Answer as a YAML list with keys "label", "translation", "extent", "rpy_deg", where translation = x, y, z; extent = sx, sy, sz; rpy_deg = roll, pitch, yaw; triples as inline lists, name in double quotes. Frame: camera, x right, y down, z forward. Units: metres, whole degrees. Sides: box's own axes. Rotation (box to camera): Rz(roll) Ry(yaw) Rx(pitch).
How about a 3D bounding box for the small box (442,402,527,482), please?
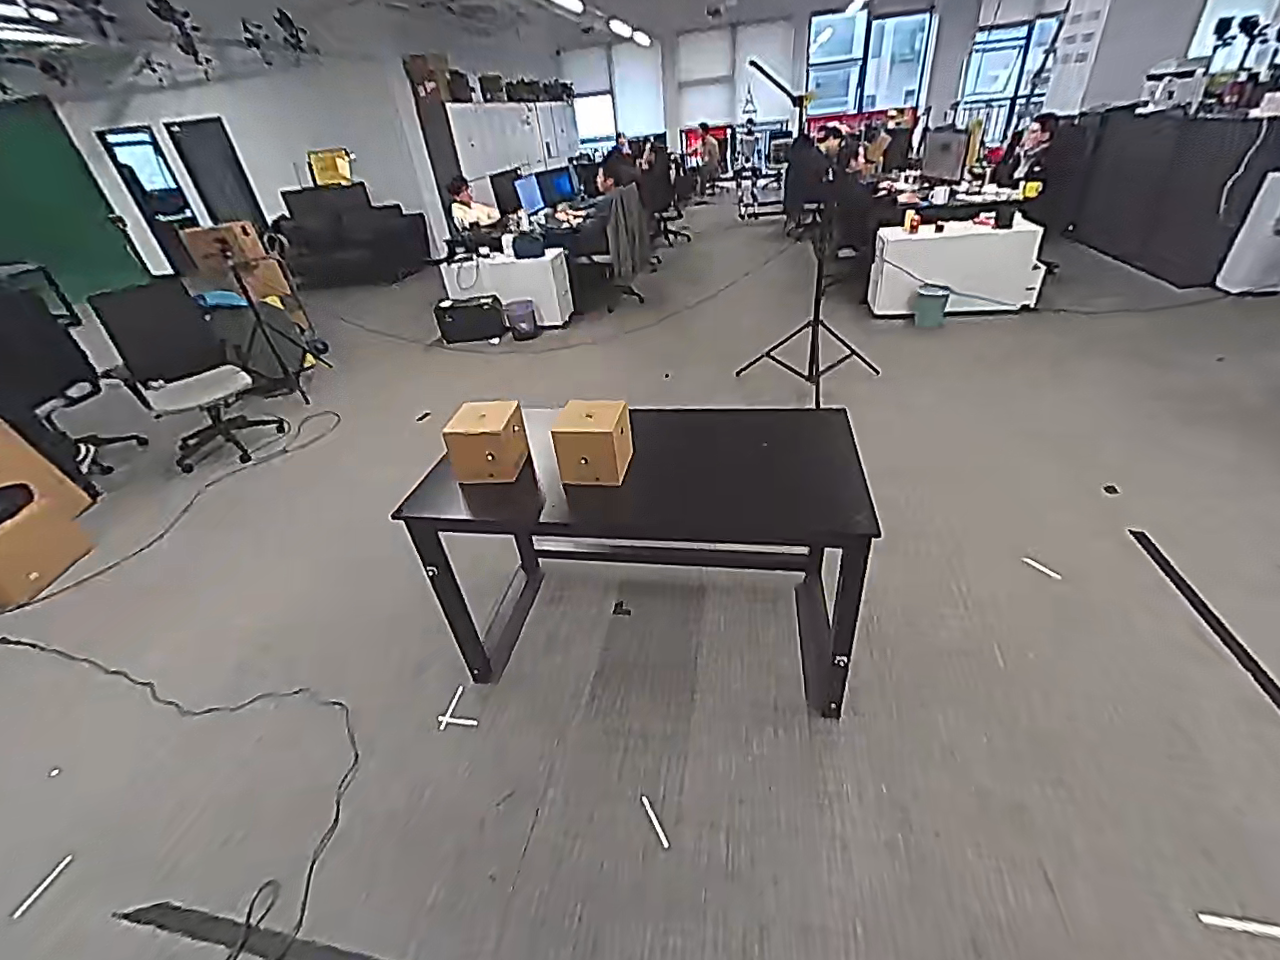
- label: "small box"
  translation: [-0.428, -0.105, 1.528]
  extent: [0.168, 0.176, 0.179]
  rpy_deg: [-1, 33, 6]

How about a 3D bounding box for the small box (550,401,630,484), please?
- label: "small box"
  translation: [-0.126, -0.102, 1.469]
  extent: [0.168, 0.176, 0.179]
  rpy_deg: [2, 35, 12]
